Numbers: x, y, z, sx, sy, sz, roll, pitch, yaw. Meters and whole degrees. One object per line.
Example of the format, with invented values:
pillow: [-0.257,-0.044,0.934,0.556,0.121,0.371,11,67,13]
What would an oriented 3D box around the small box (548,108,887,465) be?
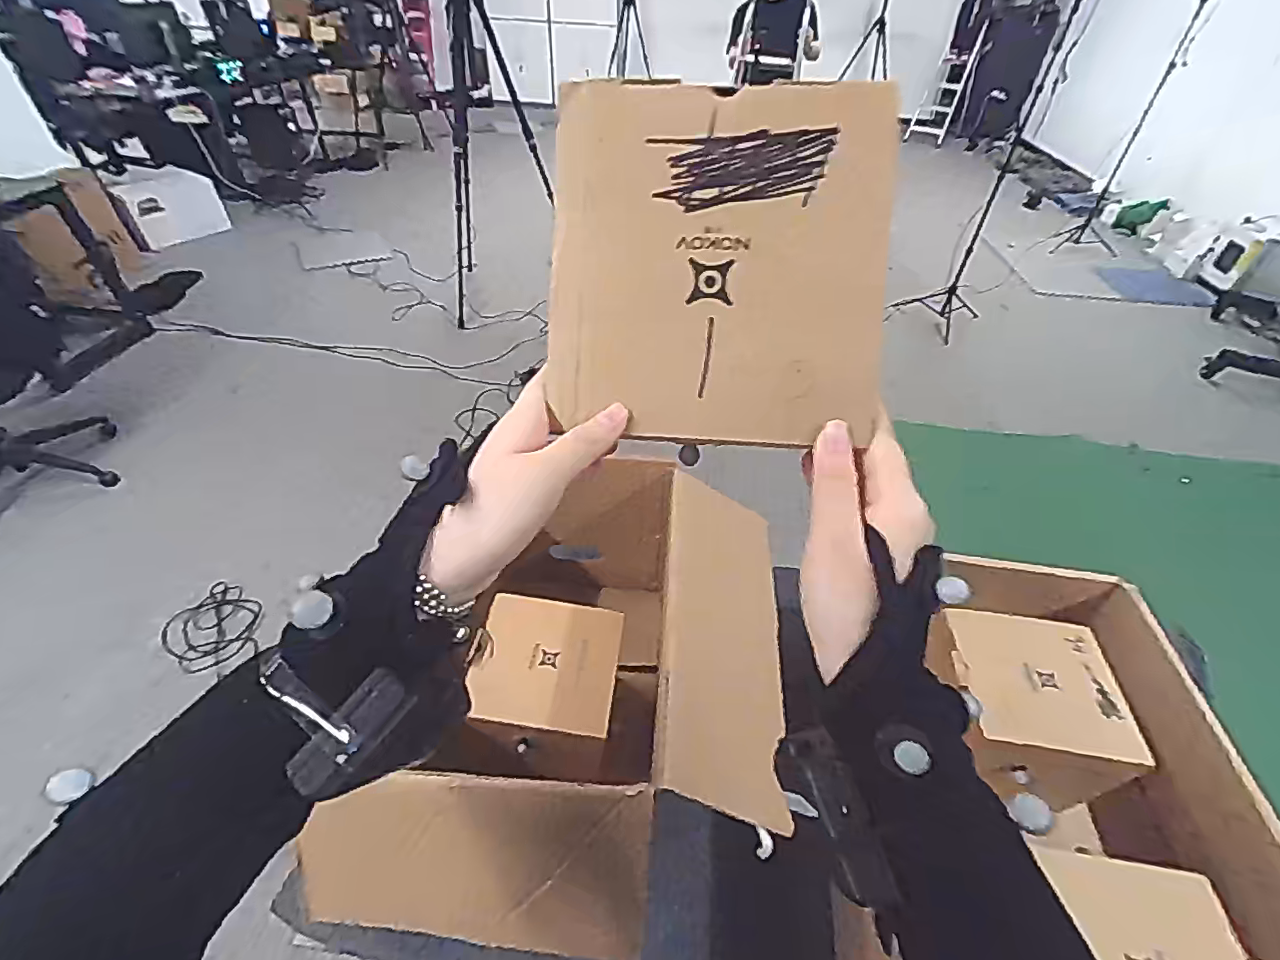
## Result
small box: [0.043,-0.105,0.358,0.168,0.179,0.176,4,5,5]
